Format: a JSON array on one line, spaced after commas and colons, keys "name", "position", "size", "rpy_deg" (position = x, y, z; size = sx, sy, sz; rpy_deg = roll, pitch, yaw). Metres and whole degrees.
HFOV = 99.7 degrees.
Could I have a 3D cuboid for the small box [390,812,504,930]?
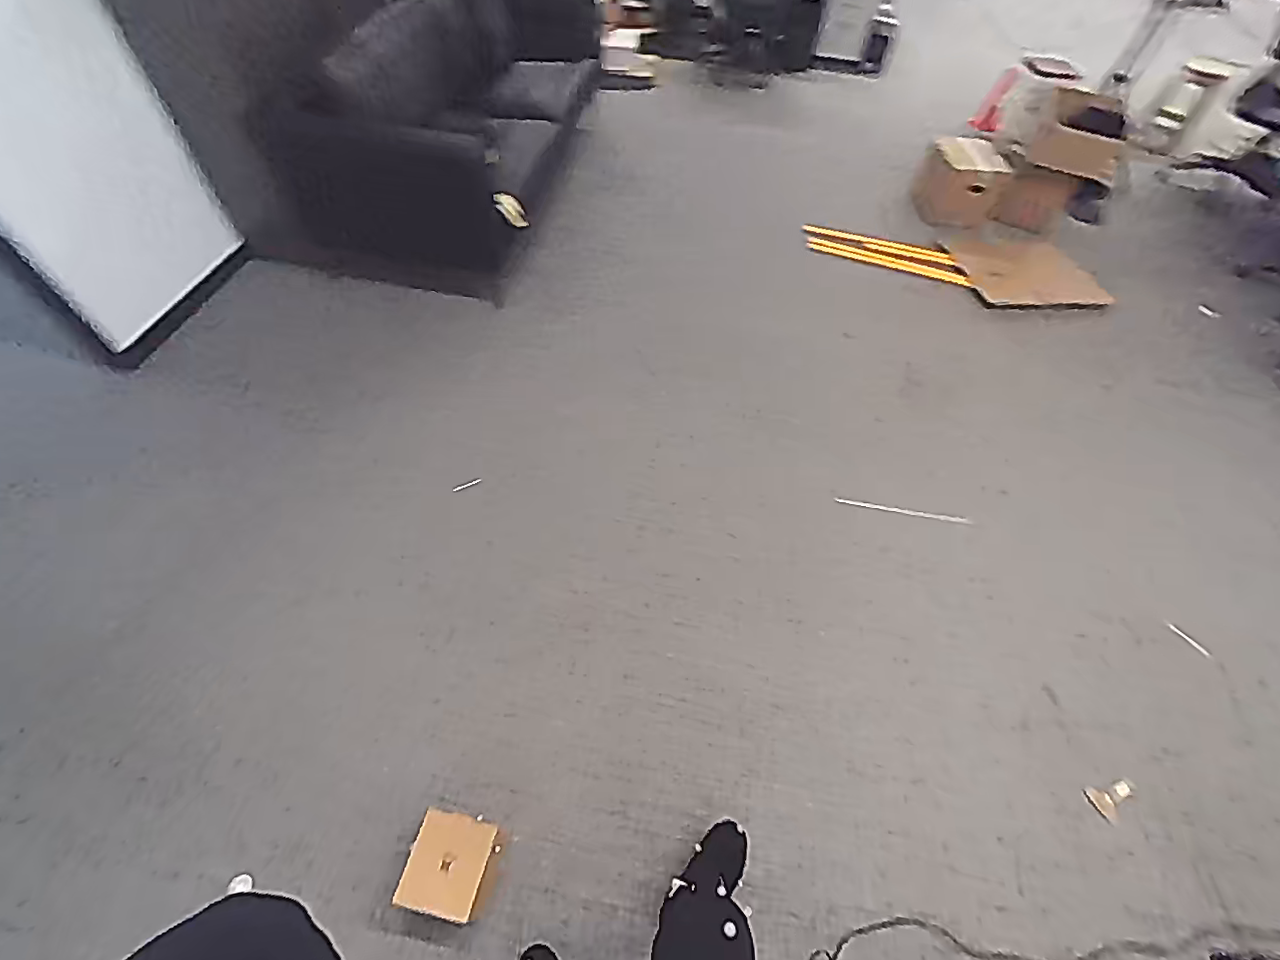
[{"name": "small box", "position": [-0.417, 0.869, 1.208], "size": [0.168, 0.176, 0.179], "rpy_deg": [11, 53, 6]}]
